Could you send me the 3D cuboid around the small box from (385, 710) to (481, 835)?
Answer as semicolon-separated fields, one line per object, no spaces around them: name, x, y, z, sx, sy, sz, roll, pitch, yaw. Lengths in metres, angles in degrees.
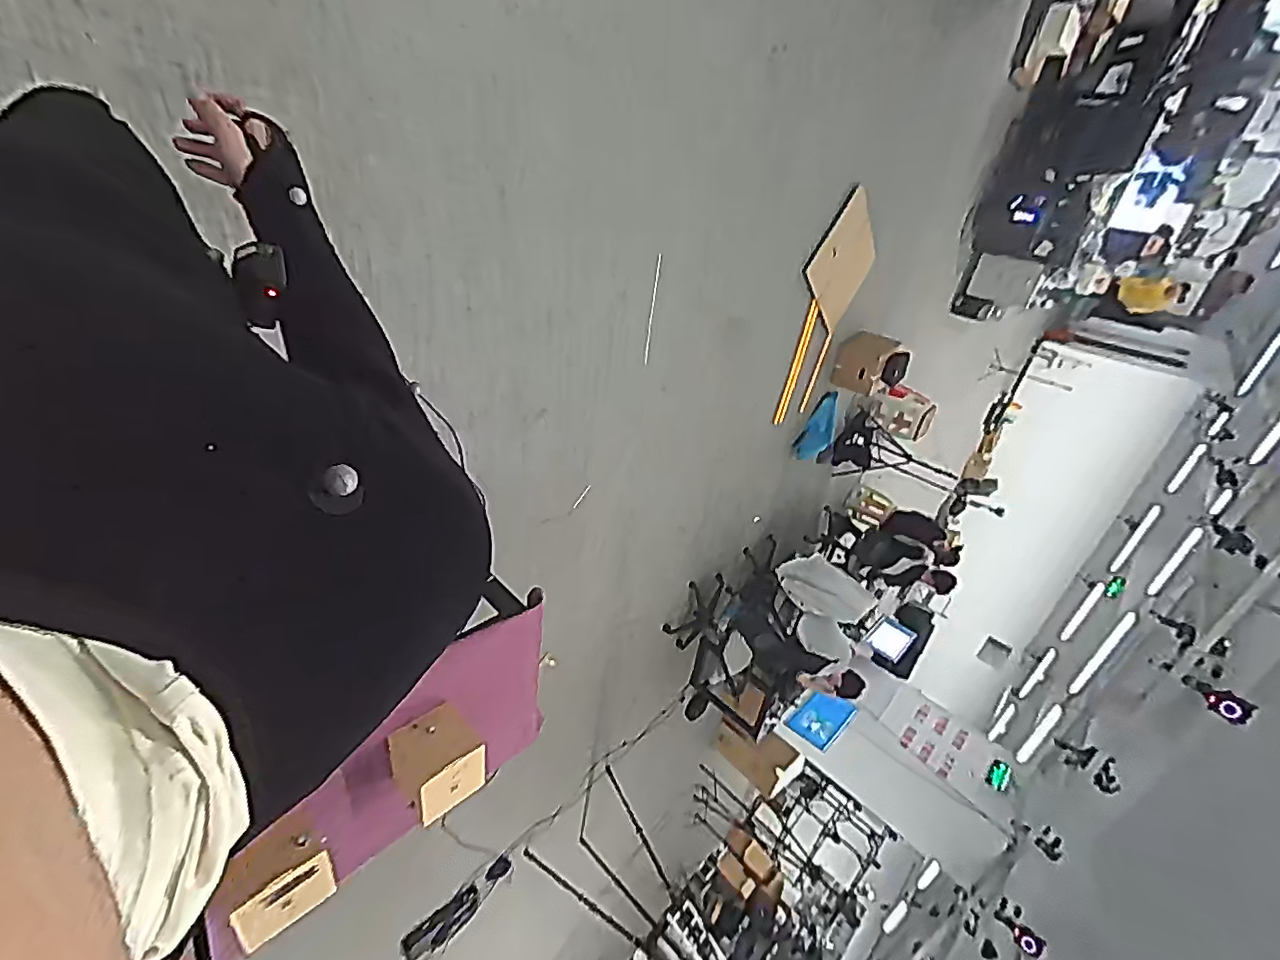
small box;-0.512;0.716;1.342;0.168;0.176;0.179;-21;131;-43
